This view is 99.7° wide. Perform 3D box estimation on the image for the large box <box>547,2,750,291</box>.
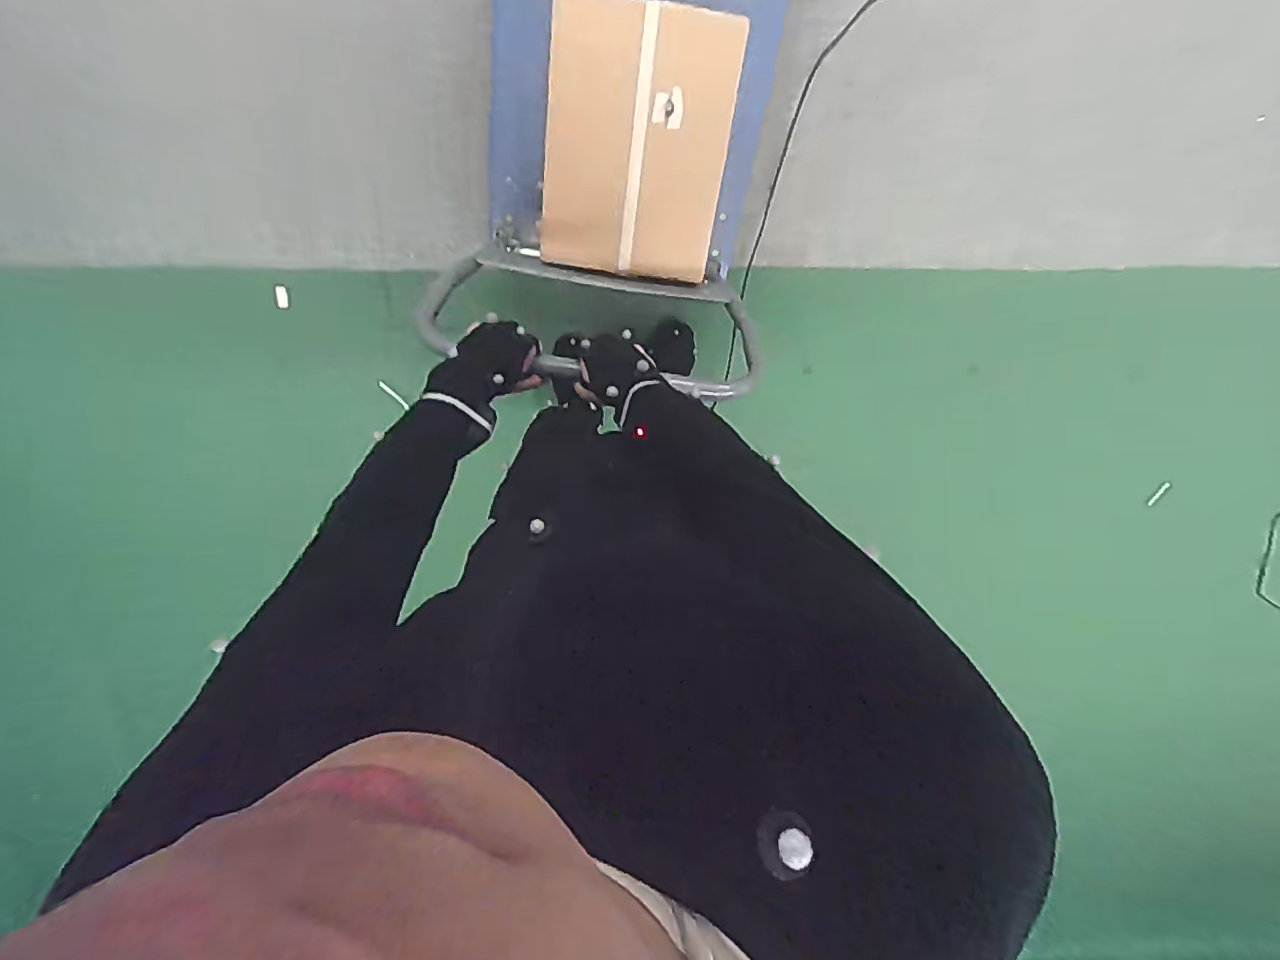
[{"bbox_3d":[0.001,-0.615,1.068,0.320,0.320,0.408,7,116,-5],"label":"large box"}]
